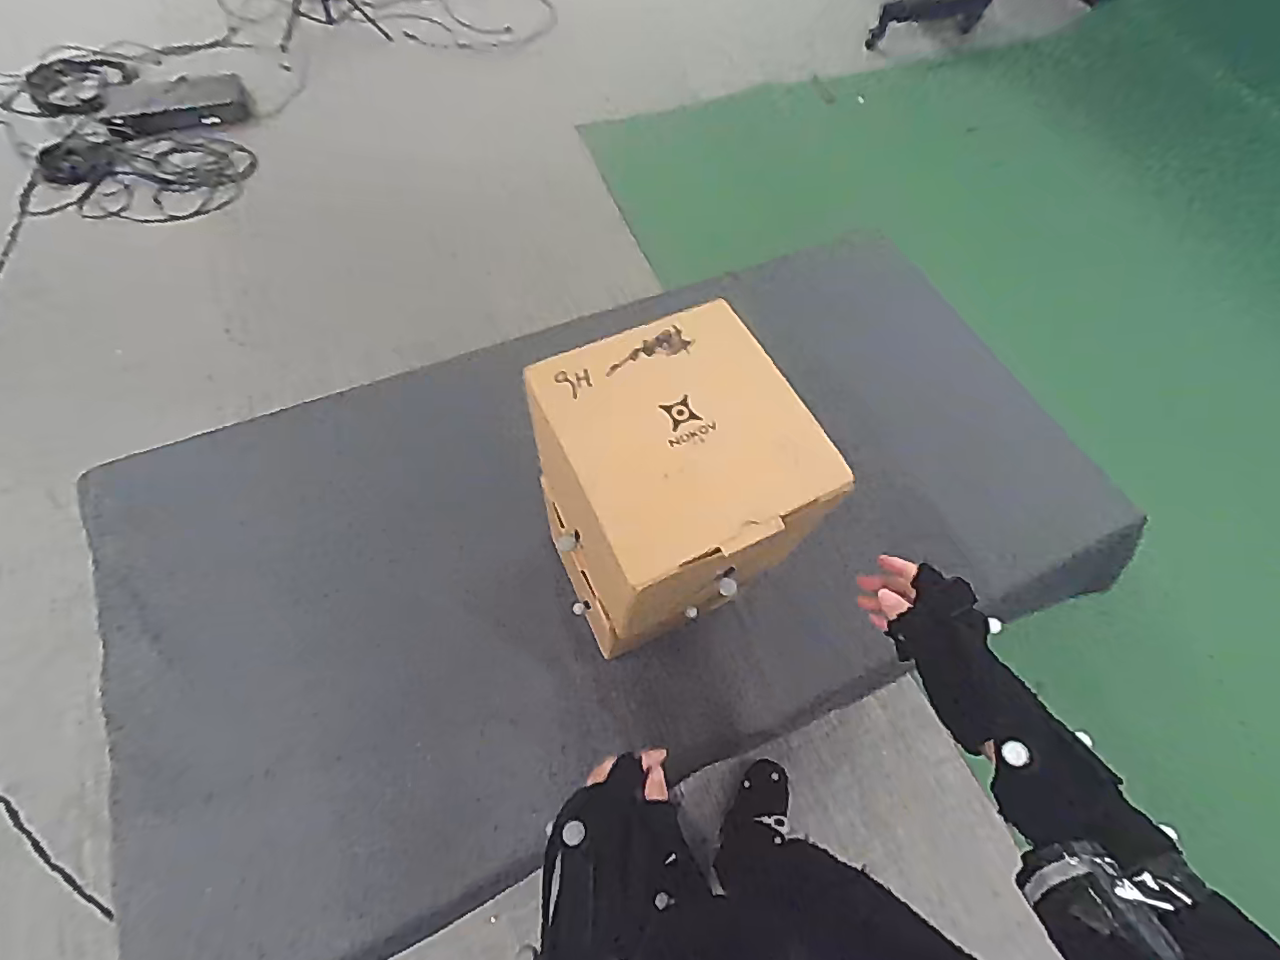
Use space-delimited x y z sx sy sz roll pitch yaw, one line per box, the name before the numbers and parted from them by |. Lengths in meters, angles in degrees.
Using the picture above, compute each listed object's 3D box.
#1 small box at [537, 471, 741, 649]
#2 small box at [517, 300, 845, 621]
small box | 0.006 0.063 0.581 0.179 0.176 0.168 -22 69 -16
small box | 0.020 -0.002 0.431 0.168 0.176 0.179 -23 69 -14
